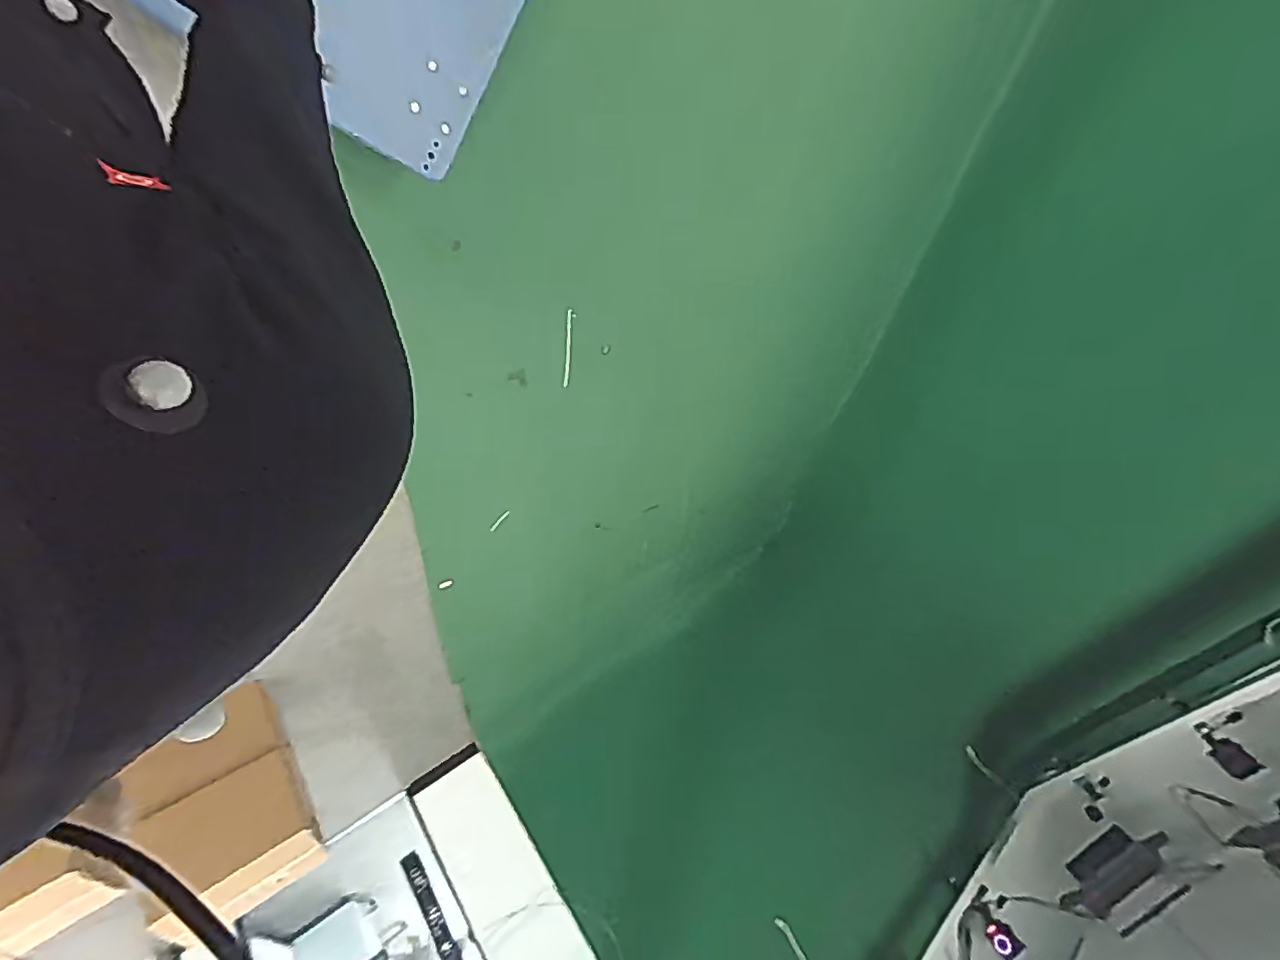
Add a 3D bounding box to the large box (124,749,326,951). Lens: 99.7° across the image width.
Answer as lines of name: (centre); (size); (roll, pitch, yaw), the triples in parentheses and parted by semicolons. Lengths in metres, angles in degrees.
large box: (-1.306, 1.164, 1.726); (0.408, 0.320, 0.320); (-25, 142, -33)
